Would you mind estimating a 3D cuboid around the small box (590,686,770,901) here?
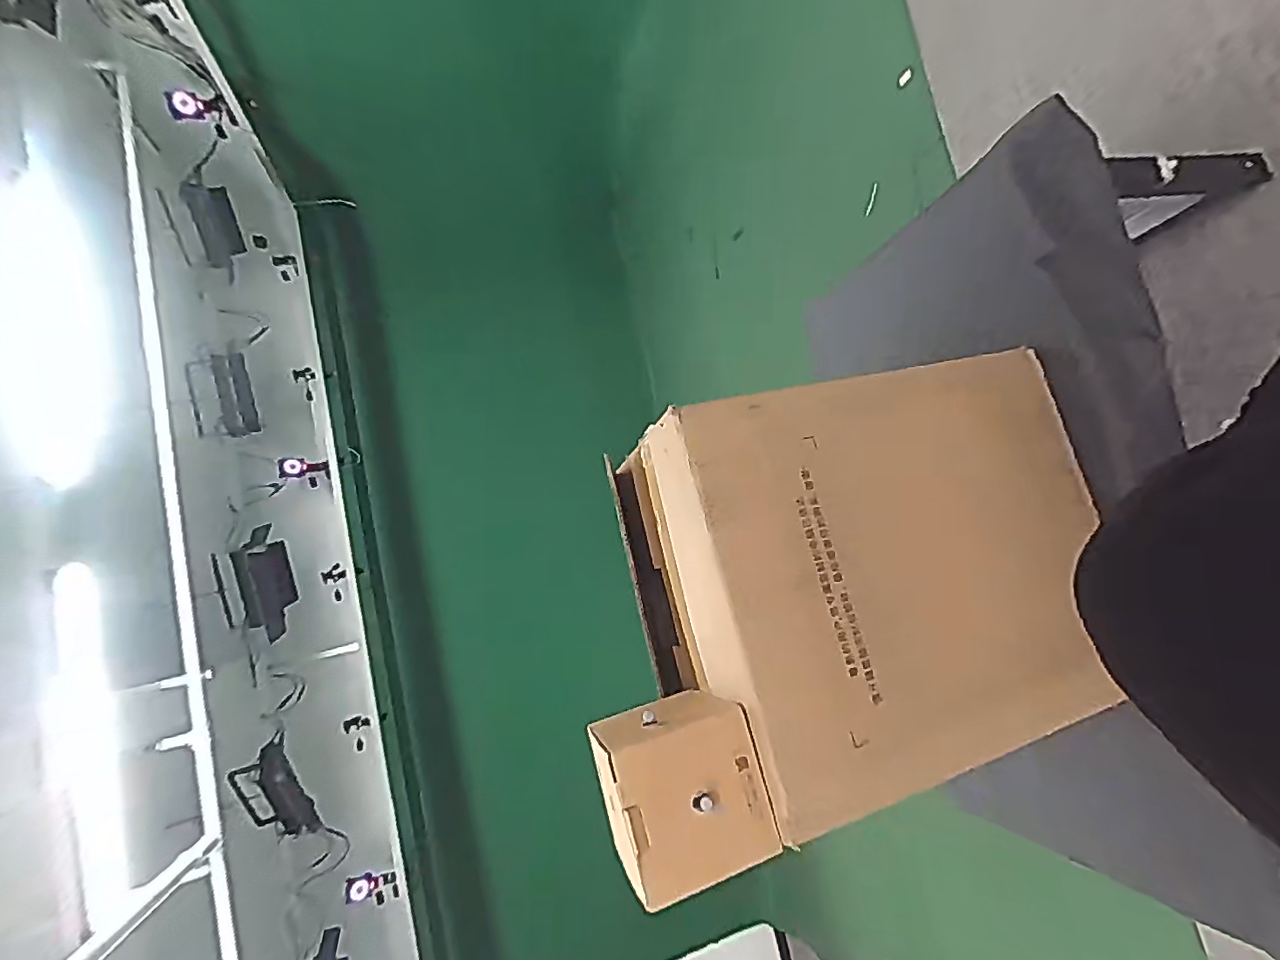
[{"bbox_3d":[0.048,0.378,0.693,0.179,0.176,0.168,135,122,-70],"label":"small box"}]
